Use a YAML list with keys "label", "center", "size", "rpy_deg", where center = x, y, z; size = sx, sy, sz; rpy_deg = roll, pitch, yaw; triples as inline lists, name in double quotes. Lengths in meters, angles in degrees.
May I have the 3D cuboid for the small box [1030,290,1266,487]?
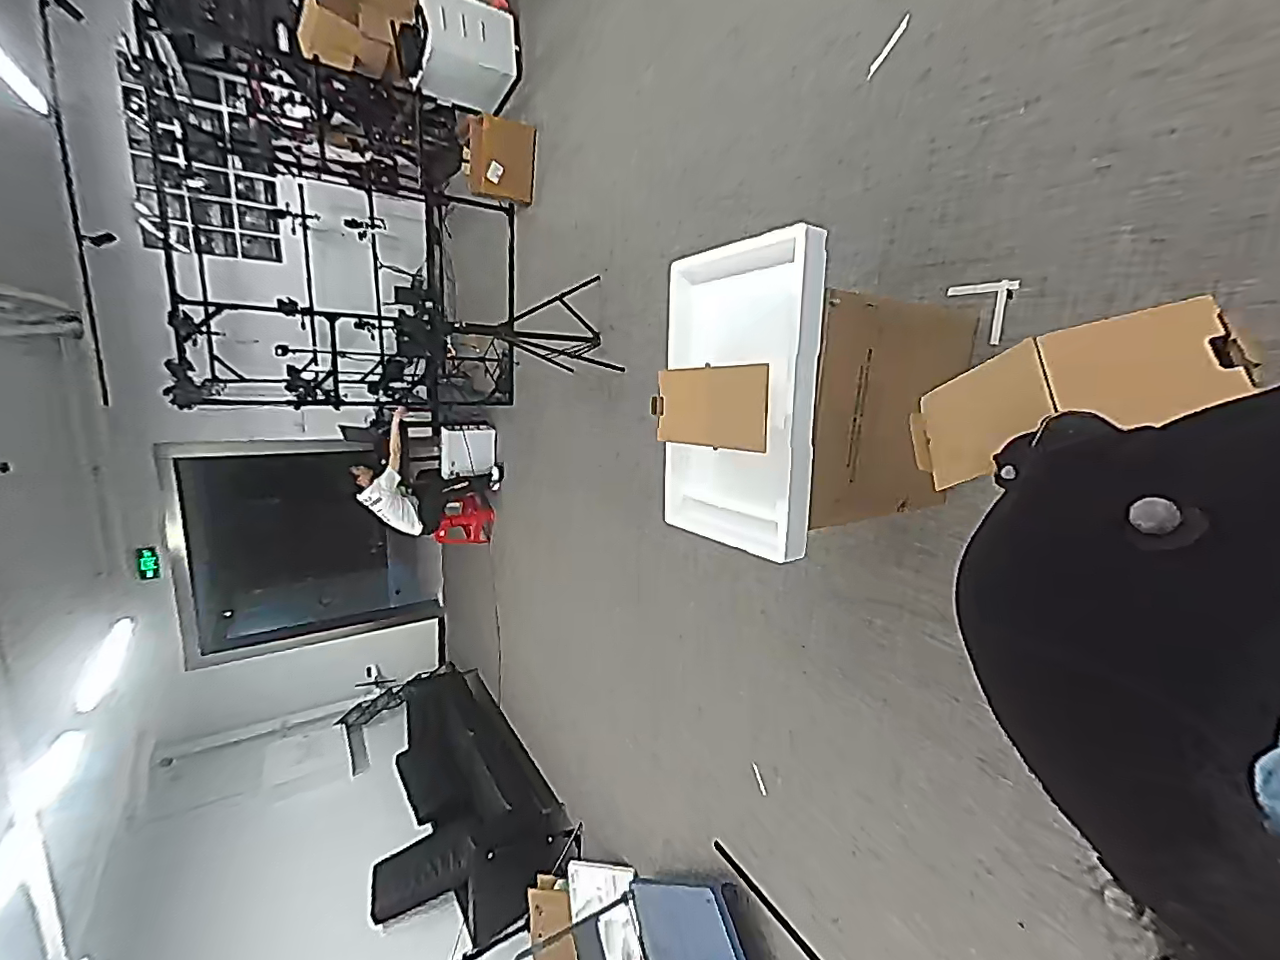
- label: "small box"
  center: [0.622, -0.102, 0.693]
  size: [0.179, 0.176, 0.168]
  rpy_deg: [-11, 62, 30]
